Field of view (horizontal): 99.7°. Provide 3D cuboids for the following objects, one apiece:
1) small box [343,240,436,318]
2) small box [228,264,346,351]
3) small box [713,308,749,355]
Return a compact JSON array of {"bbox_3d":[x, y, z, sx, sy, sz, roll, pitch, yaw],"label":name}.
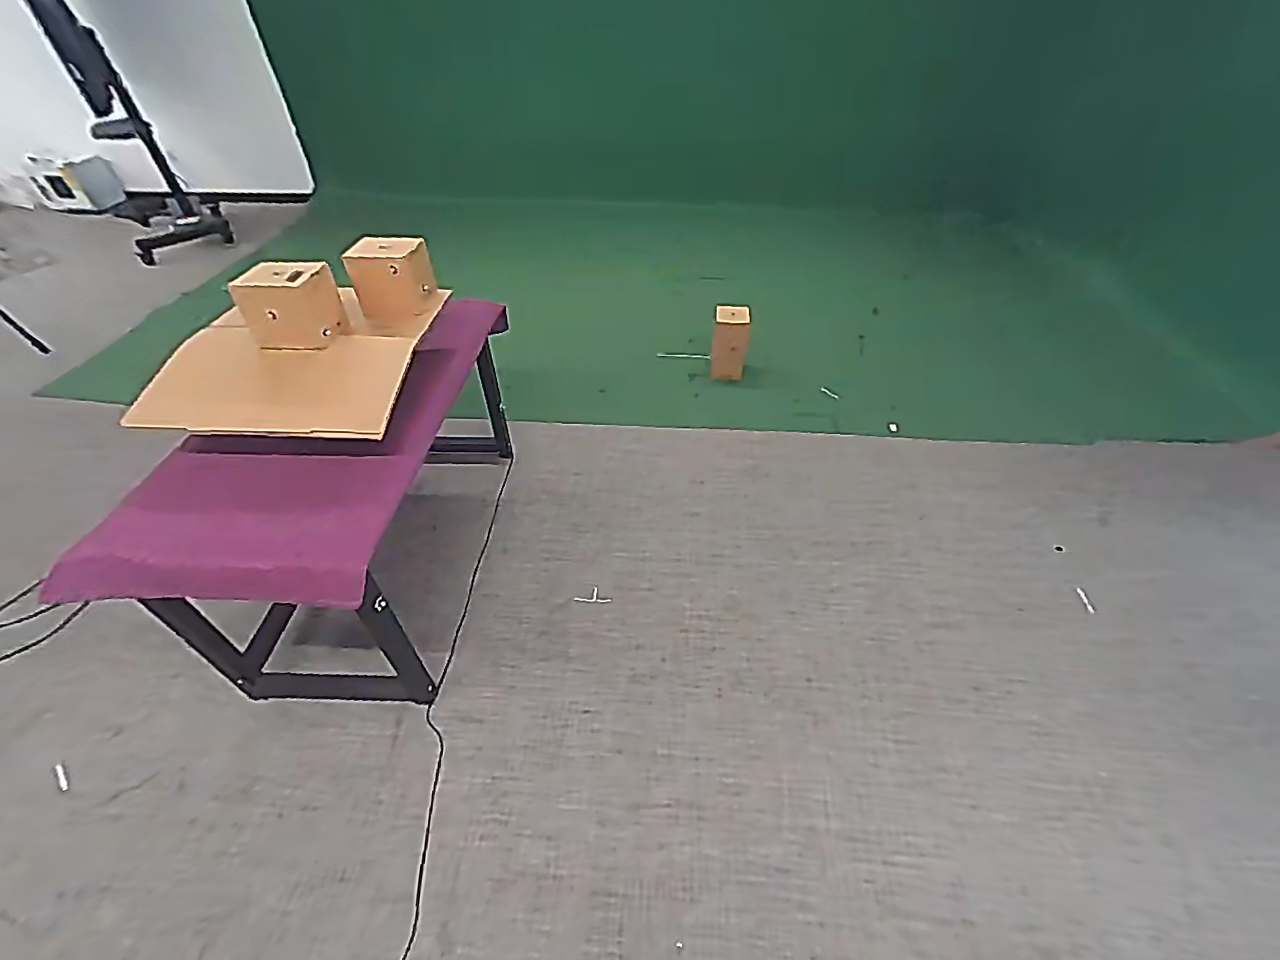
[{"bbox_3d":[-0.718,-0.583,1.570,0.179,0.176,0.168,1,41,0],"label":"small box"},{"bbox_3d":[-0.905,-0.448,1.411,0.179,0.176,0.168,0,41,0],"label":"small box"},{"bbox_3d":[0.467,-0.769,2.803,0.168,0.176,0.179,4,44,4],"label":"small box"}]
